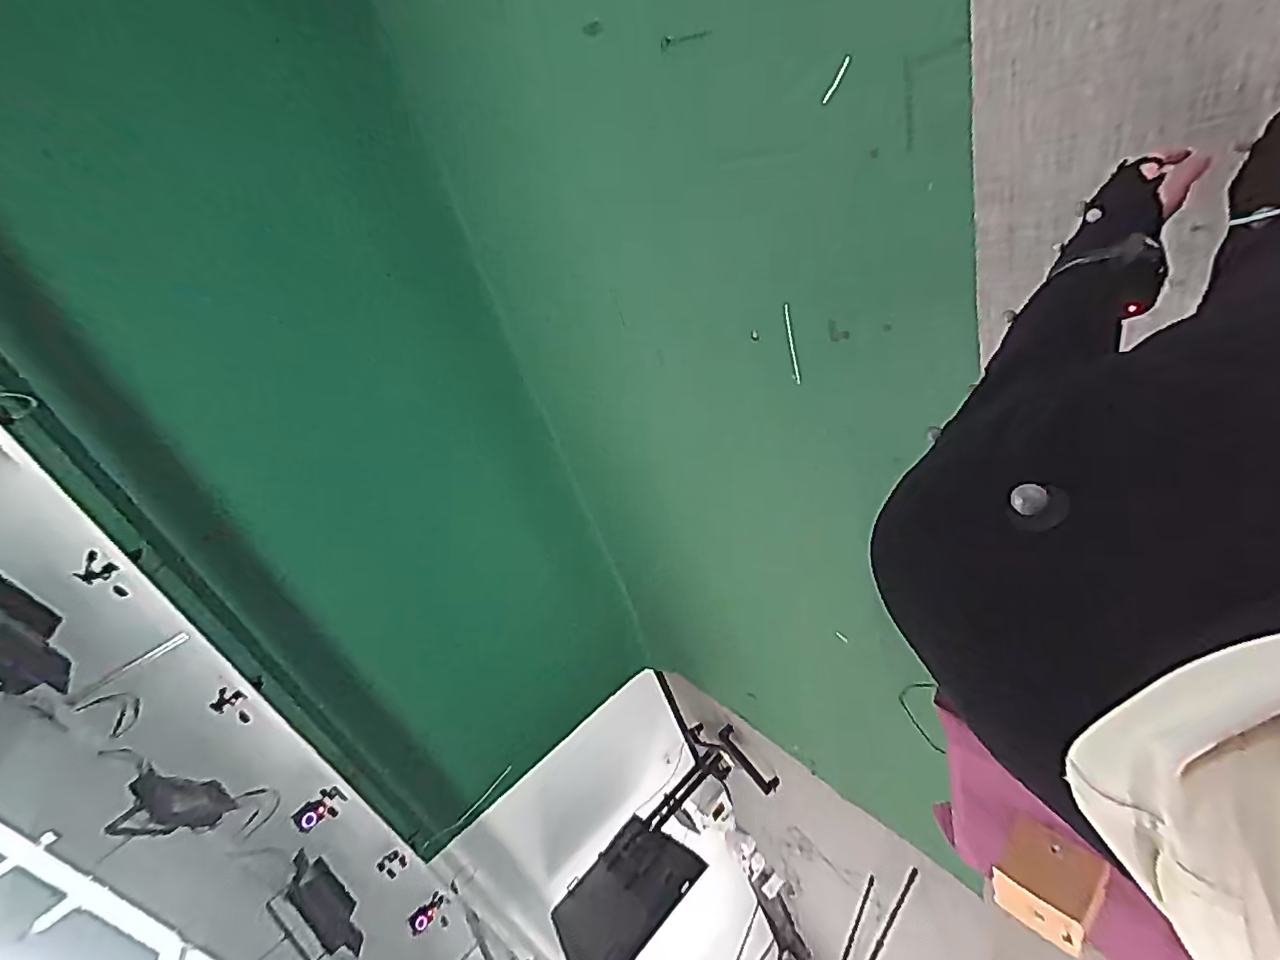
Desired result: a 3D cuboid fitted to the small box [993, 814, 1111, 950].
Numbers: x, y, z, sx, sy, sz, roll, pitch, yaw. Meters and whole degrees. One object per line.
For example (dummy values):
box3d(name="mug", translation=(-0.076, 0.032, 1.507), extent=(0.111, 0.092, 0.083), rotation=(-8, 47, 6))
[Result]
box3d(name="small box", translation=(0.976, 0.940, 1.287), extent=(0.179, 0.176, 0.168), rotation=(18, 136, 51))

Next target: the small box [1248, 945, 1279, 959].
box3d(name="small box", translation=(1.209, 1.012, 0.982), extent=(0.168, 0.176, 0.179), rotation=(16, 135, 52))
